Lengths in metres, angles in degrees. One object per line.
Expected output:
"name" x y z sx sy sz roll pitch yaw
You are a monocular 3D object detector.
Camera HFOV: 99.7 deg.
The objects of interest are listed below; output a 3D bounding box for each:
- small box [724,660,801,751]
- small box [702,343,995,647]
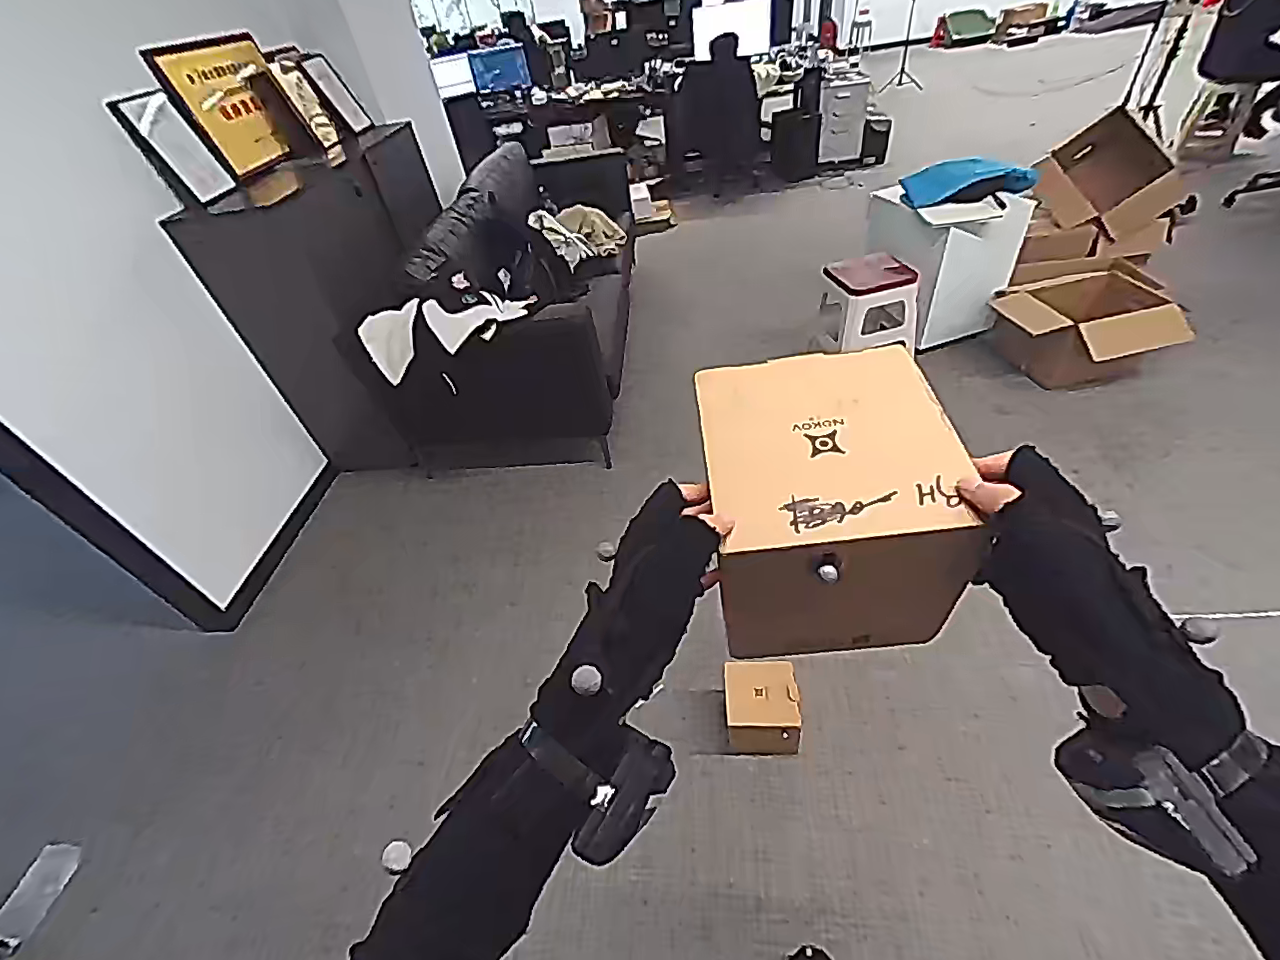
"small box" 0.311 0.581 1.389 0.179 0.176 0.168 -3 43 8
"small box" 0.142 0.016 0.442 0.168 0.176 0.179 -7 49 7
